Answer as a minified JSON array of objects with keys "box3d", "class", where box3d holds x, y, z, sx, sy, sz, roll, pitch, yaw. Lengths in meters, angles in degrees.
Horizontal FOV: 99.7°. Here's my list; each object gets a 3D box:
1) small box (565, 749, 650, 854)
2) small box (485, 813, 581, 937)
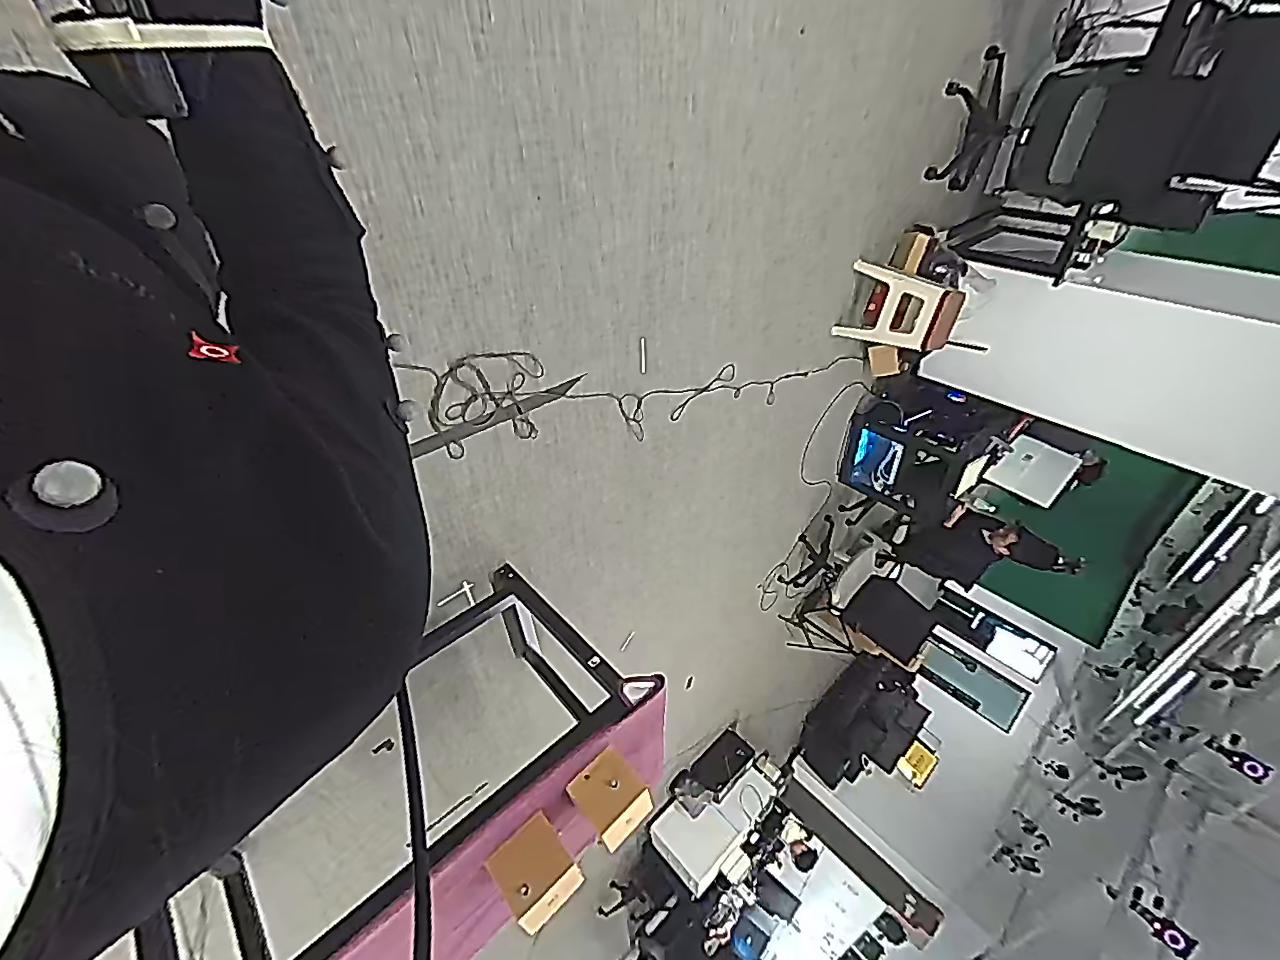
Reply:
[{"box3d":[-0.093,0.903,1.532,0.168,0.176,0.179,-35,139,-26],"class":"small box"},{"box3d":[-0.280,1.017,1.399,0.179,0.176,0.168,-33,139,-28],"class":"small box"}]
